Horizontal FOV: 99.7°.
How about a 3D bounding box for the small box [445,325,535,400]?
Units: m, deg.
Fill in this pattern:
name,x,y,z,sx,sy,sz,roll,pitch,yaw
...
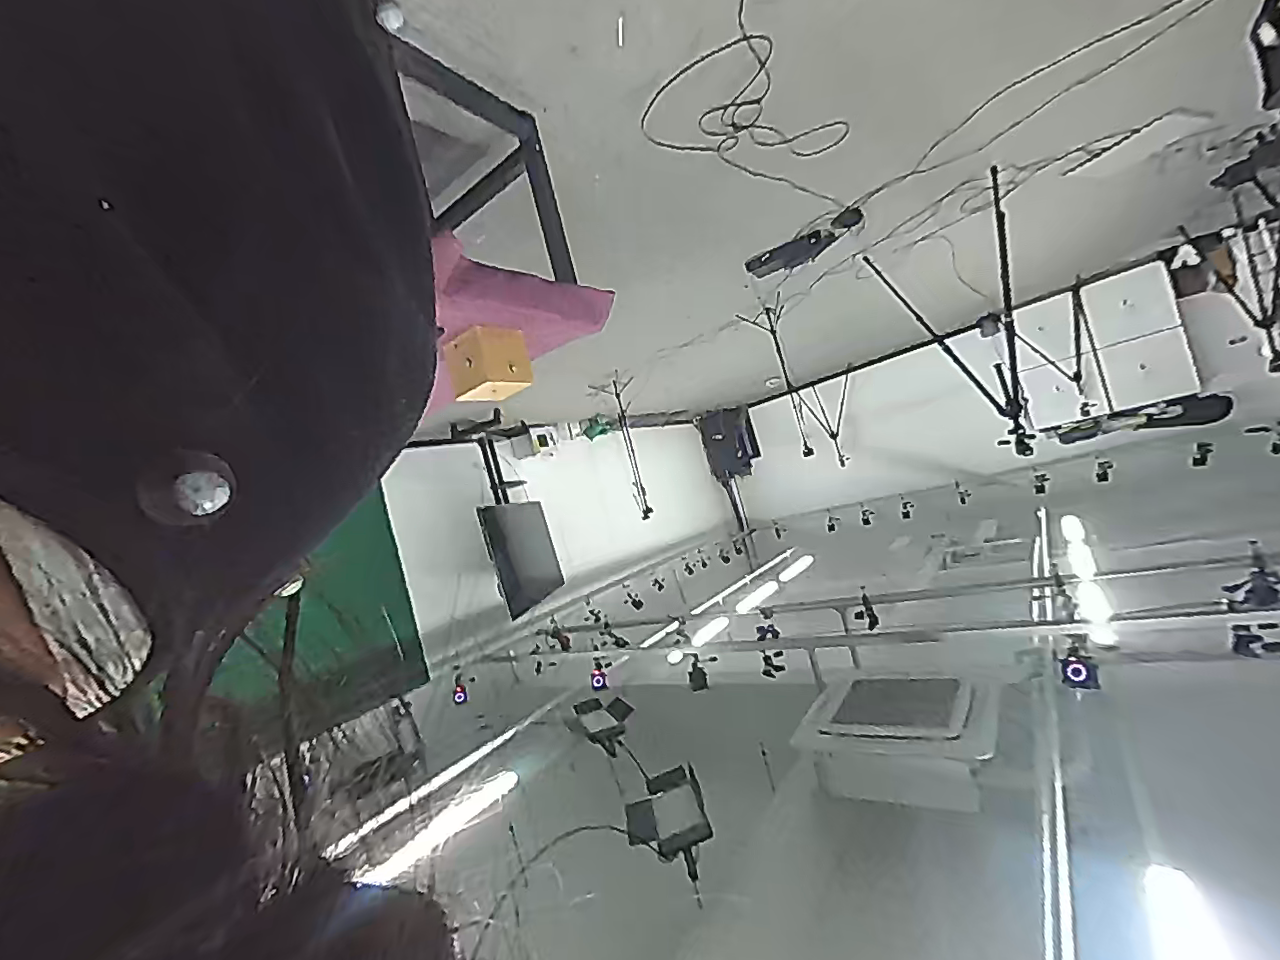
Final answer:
name,x,y,z,sx,sy,sz,roll,pitch,yaw
small box,-0.443,-0.341,1.583,0.168,0.176,0.179,-17,178,37
